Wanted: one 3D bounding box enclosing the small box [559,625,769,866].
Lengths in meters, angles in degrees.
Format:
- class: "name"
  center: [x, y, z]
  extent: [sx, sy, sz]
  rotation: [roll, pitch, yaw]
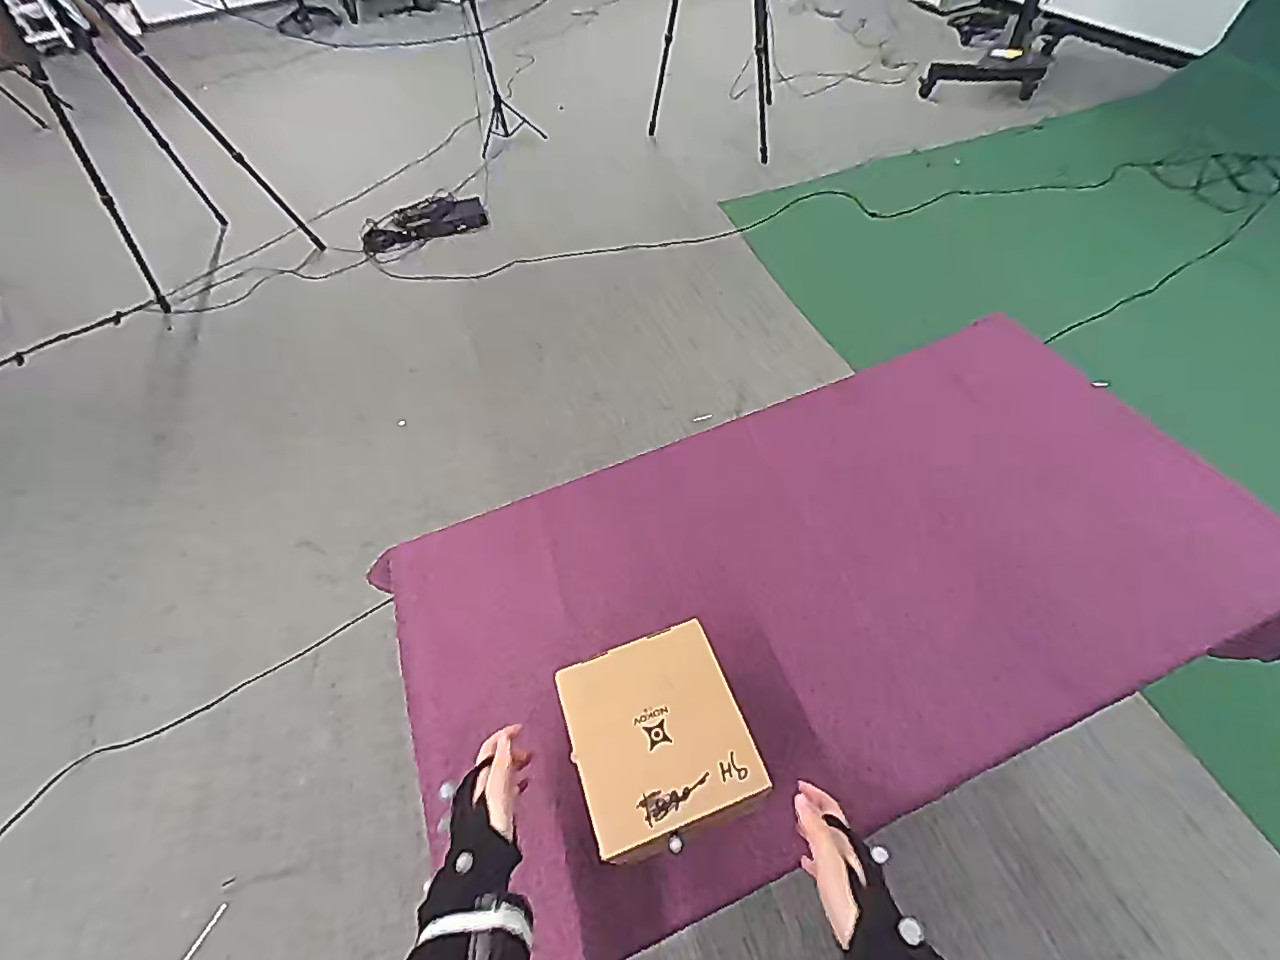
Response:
- class: "small box"
  center: [0.023, 0.293, 0.592]
  extent: [0.168, 0.176, 0.179]
  rotation: [-19, 53, -6]
